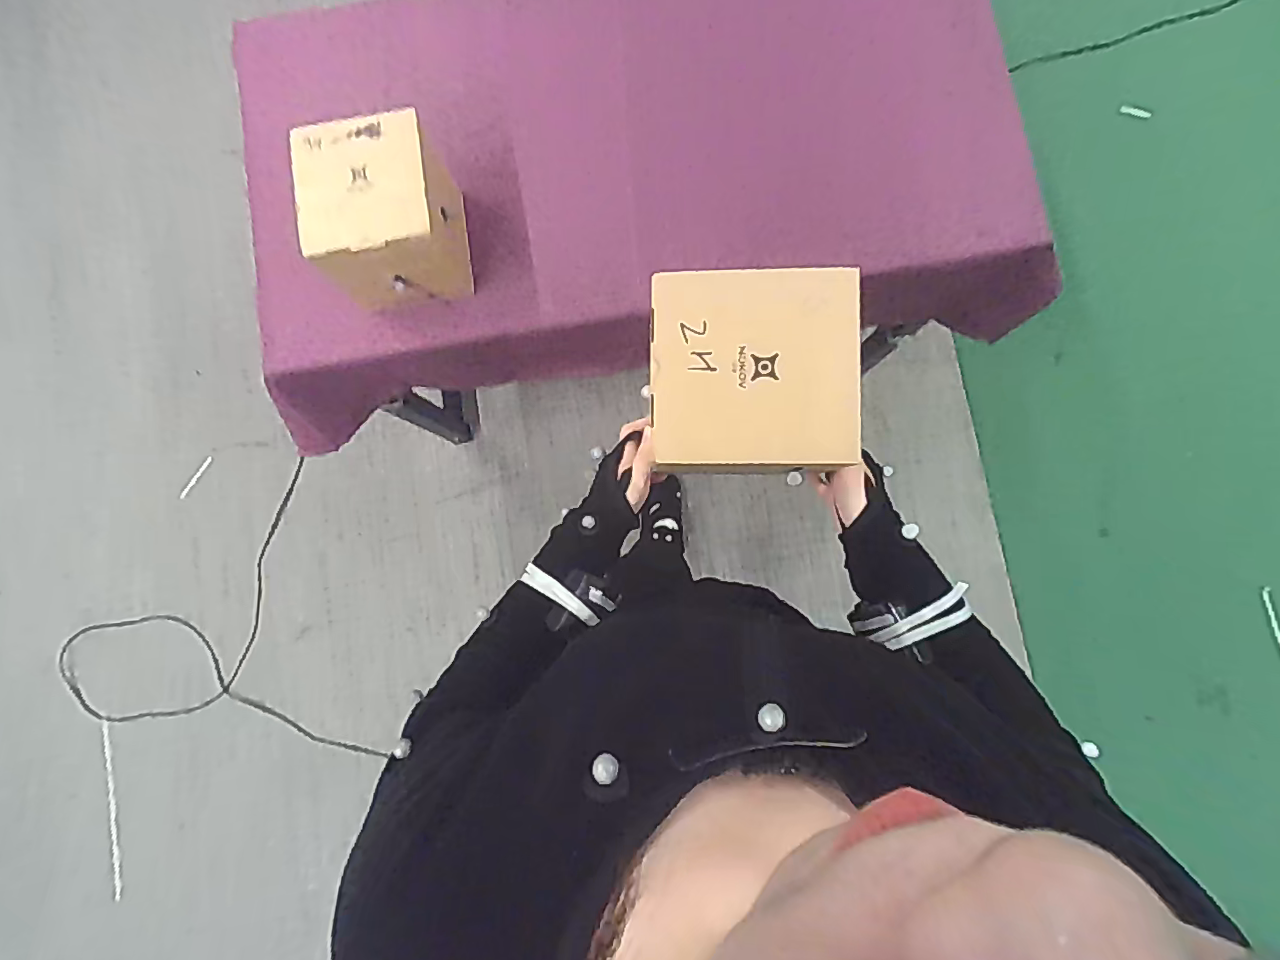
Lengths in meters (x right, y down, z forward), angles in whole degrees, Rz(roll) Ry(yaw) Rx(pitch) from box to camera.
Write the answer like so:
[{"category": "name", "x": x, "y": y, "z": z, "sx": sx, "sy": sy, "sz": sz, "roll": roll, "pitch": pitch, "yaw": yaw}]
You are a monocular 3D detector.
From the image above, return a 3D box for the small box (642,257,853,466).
[{"category": "small box", "x": 0.096, "y": -0.103, "z": 0.534, "sx": 0.179, "sy": 0.176, "sz": 0.168, "roll": 1, "pitch": 87, "yaw": 6}]

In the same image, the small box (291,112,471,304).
[{"category": "small box", "x": -0.350, "y": -0.364, "z": 0.760, "sx": 0.168, "sy": 0.176, "sz": 0.179, "roll": -9, "pitch": 84, "yaw": 1}]
